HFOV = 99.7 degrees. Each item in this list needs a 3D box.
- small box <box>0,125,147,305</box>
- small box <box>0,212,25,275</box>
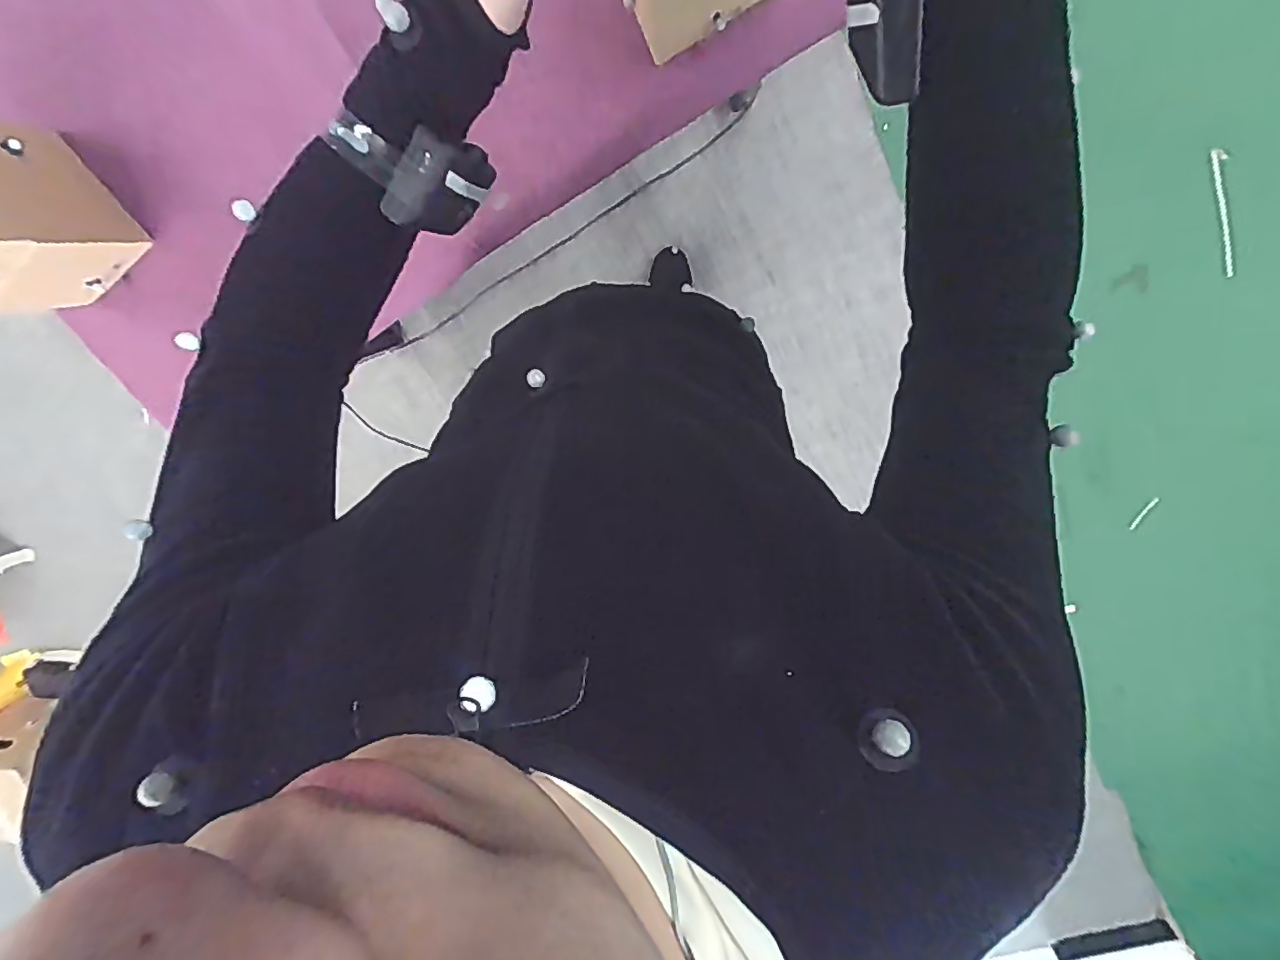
[{"bbox_3d":[-0.842,-0.349,0.722,0.168,0.176,0.179,-29,109,16],"label":"small box"},{"bbox_3d":[-0.852,-0.284,0.572,0.168,0.176,0.179,-29,109,16],"label":"small box"}]
